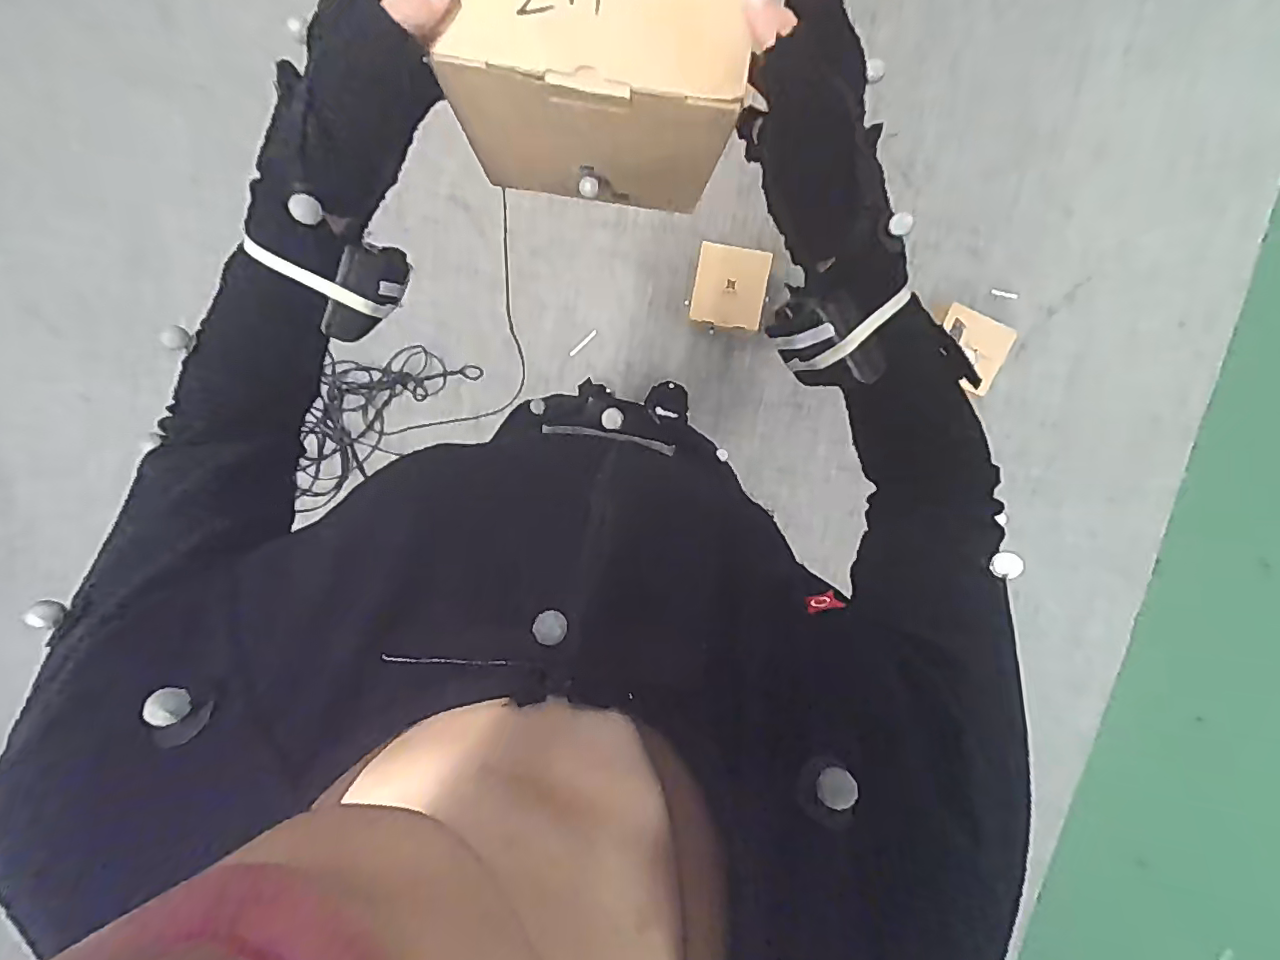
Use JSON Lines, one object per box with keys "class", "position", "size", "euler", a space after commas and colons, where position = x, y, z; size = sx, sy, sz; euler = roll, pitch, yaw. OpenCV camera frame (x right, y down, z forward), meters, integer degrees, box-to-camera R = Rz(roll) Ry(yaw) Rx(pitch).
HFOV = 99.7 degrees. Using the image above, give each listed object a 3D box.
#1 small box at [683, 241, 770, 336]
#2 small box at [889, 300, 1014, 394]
{"class": "small box", "position": [0.202, -0.458, 1.316], "size": [0.168, 0.176, 0.179], "euler": [9, 100, -1]}
{"class": "small box", "position": [0.756, -0.322, 1.337], "size": [0.179, 0.176, 0.168], "euler": [23, 100, -5]}
